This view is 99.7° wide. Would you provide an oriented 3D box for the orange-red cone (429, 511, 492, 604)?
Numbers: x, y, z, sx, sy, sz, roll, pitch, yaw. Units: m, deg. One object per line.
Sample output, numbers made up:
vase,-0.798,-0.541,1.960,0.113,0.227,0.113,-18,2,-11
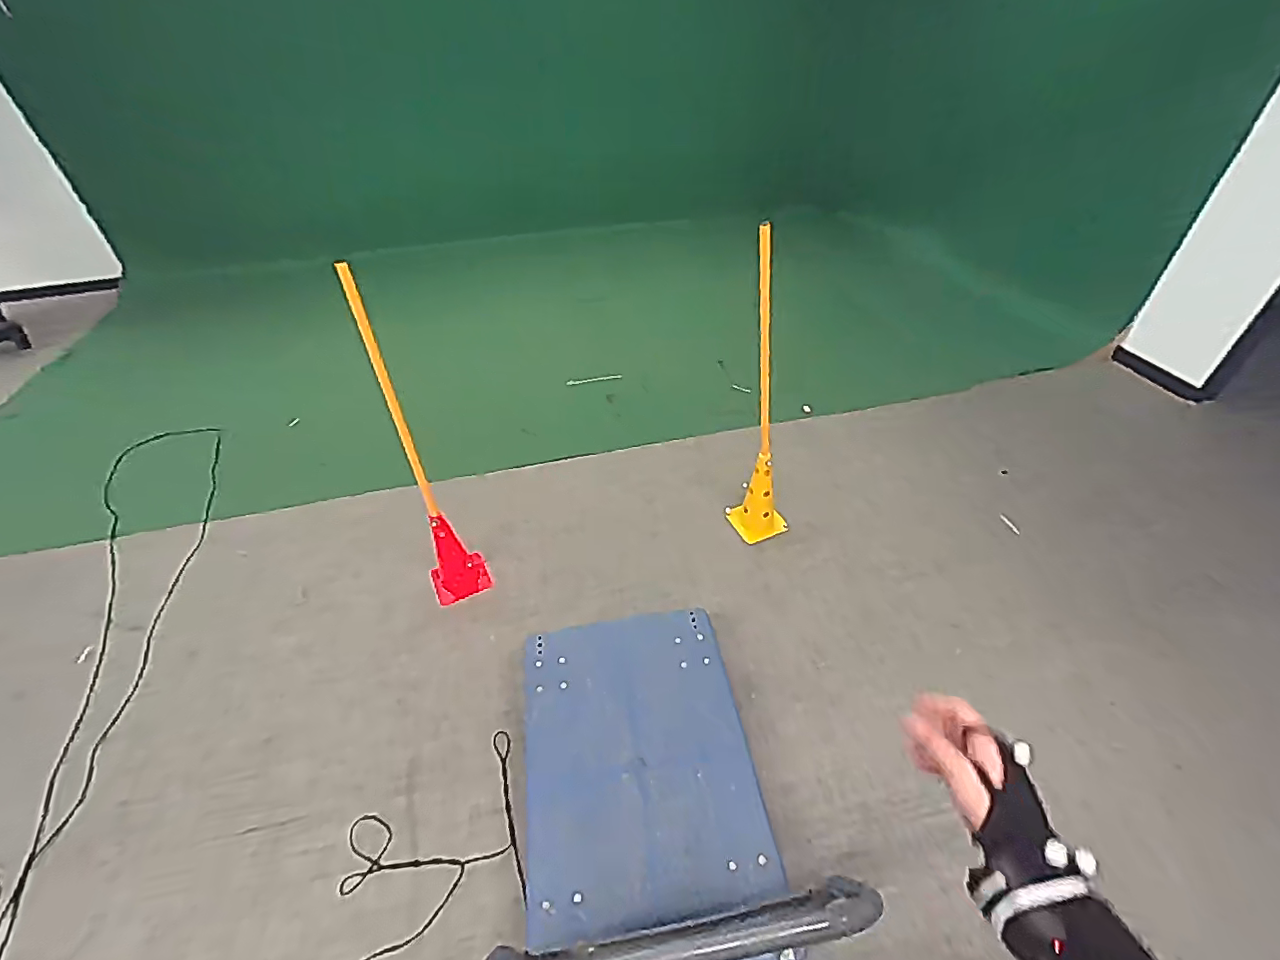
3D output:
orange-red cone,-0.686,0.247,1.942,0.199,0.360,0.198,-22,45,-17
